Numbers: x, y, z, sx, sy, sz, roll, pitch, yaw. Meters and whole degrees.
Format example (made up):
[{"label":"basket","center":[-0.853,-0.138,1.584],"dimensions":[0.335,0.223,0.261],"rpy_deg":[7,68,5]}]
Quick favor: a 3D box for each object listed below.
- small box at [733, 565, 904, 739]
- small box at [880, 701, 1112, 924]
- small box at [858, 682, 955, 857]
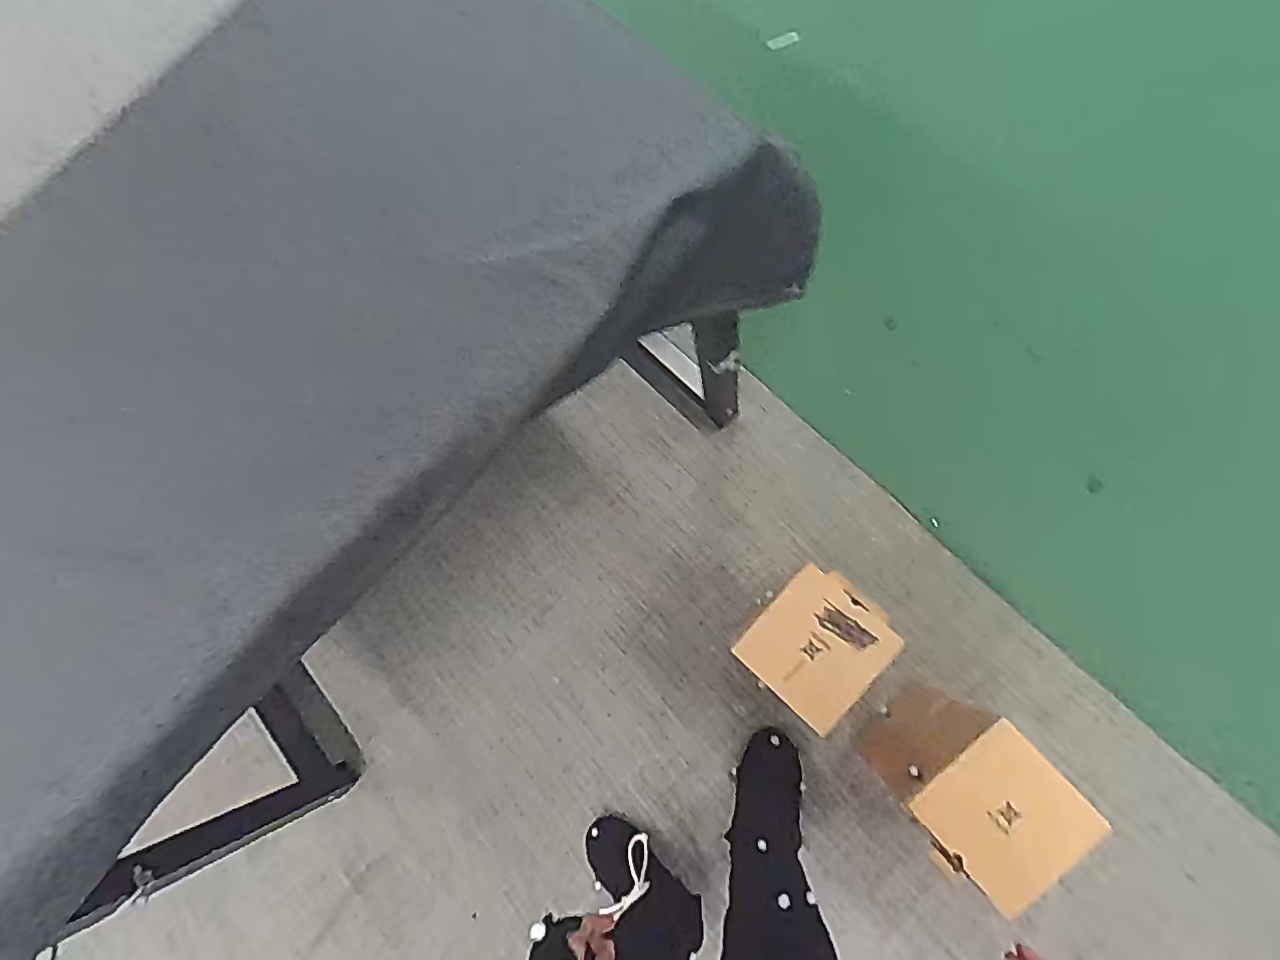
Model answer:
[{"label":"small box","center":[0.257,0.250,0.824],"dimensions":[0.168,0.176,0.179],"rpy_deg":[41,88,16]},{"label":"small box","center":[0.468,0.436,0.747],"dimensions":[0.179,0.176,0.168],"rpy_deg":[-42,75,-1]},{"label":"small box","center":[0.492,0.470,0.906],"dimensions":[0.179,0.176,0.168],"rpy_deg":[-43,75,0]}]
